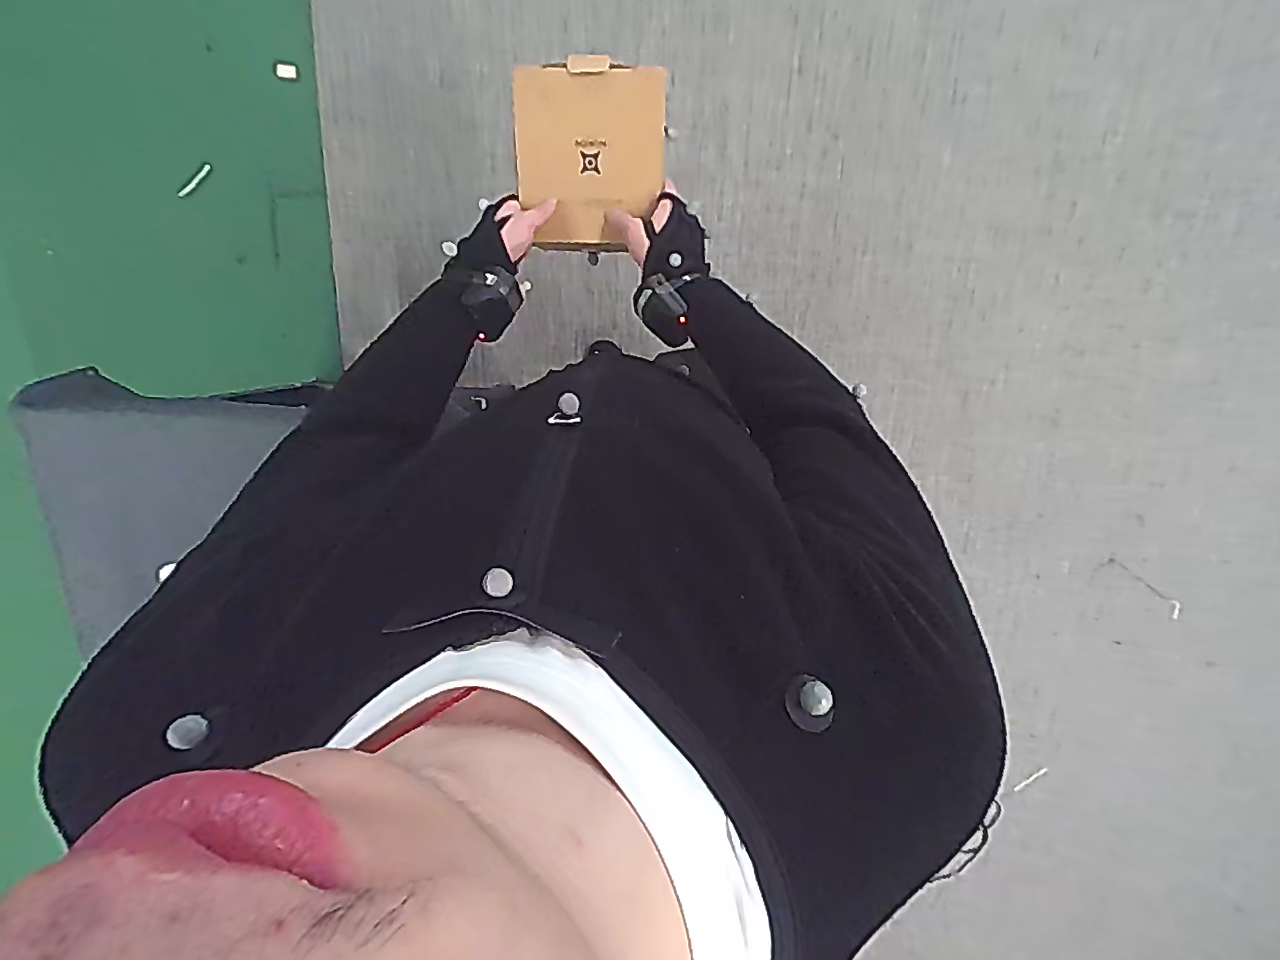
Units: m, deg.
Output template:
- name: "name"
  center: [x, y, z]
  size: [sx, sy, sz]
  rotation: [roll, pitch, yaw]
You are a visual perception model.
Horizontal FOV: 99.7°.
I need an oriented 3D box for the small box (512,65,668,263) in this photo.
- name: "small box"
  center: [-0.055, -0.370, 0.664]
  size: [0.168, 0.176, 0.179]
  rotation: [4, 109, 2]
